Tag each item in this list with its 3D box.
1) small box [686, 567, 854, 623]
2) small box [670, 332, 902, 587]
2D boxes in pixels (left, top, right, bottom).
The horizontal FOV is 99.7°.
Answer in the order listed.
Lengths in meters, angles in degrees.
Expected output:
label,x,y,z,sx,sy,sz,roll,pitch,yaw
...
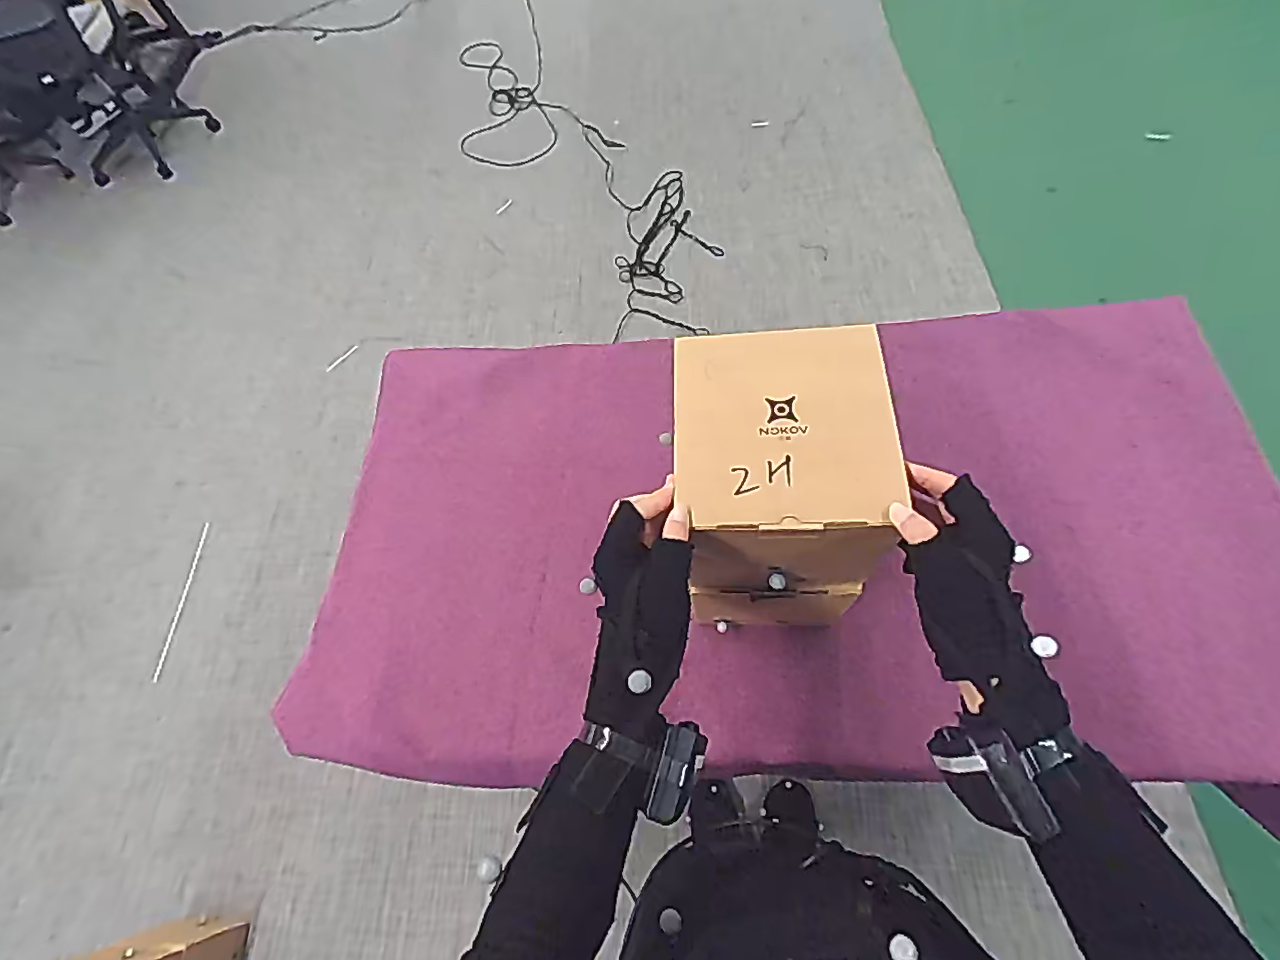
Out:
label,x,y,z,sx,sy,sz,roll,pitch,yaw
small box,0.144,0.067,0.636,0.168,0.176,0.179,-1,64,9
small box,0.118,-0.010,0.494,0.168,0.176,0.179,-1,65,9
